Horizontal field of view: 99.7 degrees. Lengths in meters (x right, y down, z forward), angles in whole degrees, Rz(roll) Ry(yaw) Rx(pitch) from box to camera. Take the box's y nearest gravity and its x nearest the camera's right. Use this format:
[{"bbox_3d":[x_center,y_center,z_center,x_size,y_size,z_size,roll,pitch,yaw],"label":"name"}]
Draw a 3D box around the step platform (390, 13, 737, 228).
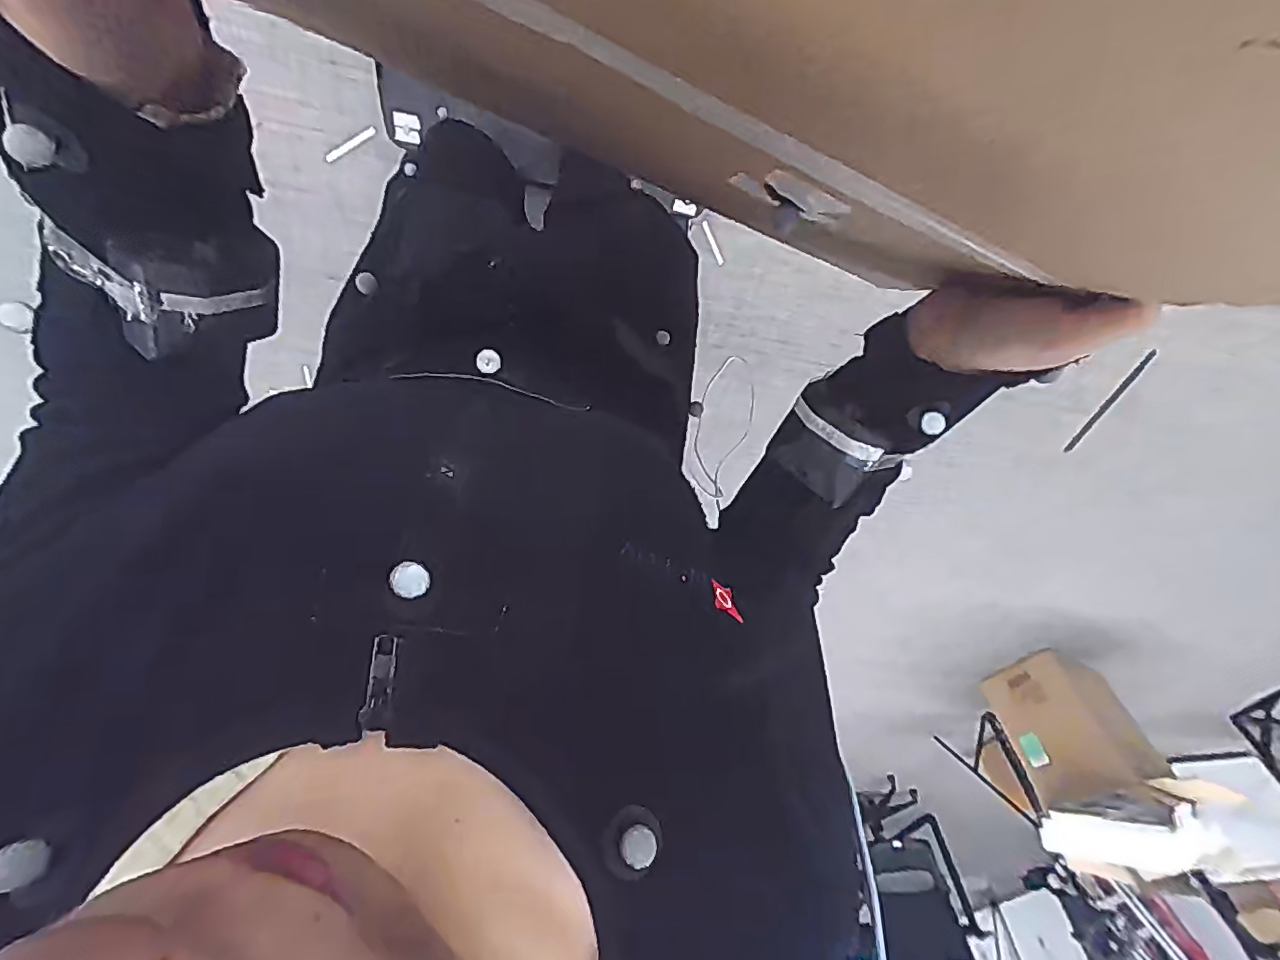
[{"bbox_3d":[-0.120,-0.756,1.070,0.684,0.204,0.286,12,129,-14],"label":"step platform"}]
